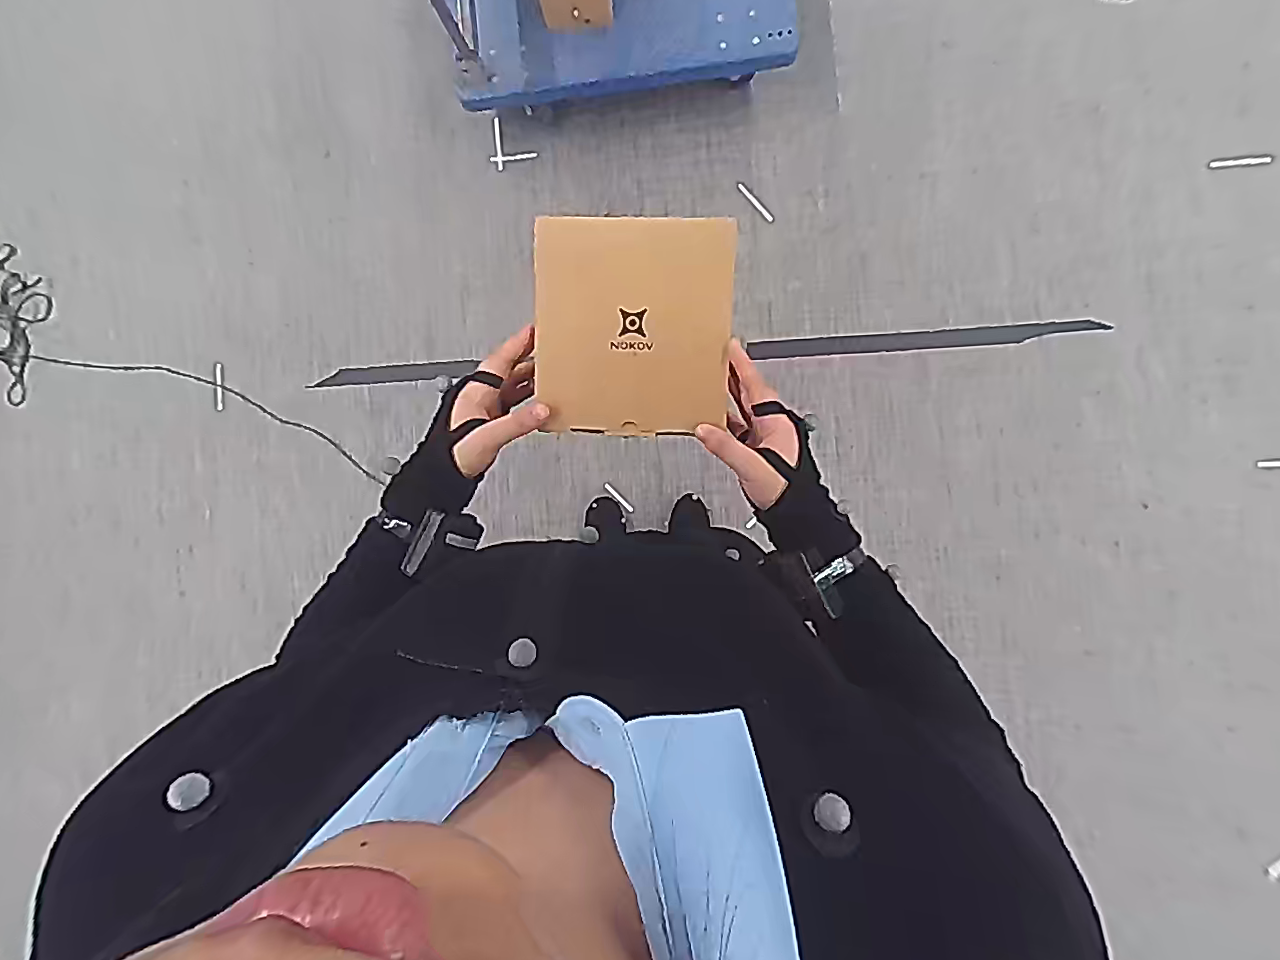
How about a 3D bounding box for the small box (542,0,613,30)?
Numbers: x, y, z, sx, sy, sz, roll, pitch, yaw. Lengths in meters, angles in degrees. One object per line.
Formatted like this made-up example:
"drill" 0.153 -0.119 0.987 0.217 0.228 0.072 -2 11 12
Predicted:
"small box" -0.156 -1.219 1.274 0.168 0.176 0.179 -2 89 4
